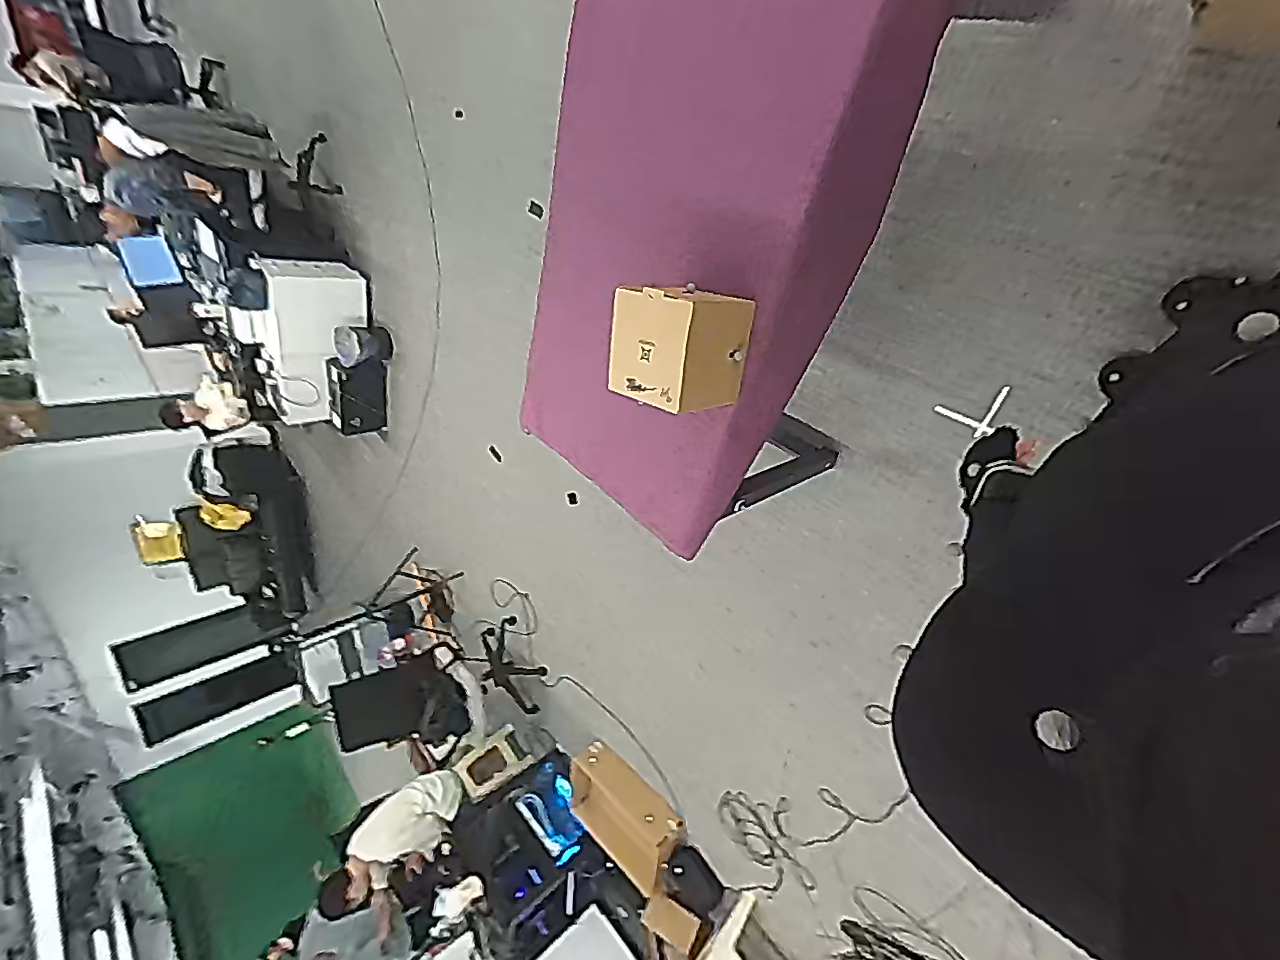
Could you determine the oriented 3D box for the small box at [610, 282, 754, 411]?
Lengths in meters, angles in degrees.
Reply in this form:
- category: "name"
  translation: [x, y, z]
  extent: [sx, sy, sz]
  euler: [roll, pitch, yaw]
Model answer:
- category: "small box"
  translation: [0.073, -0.231, 0.917]
  extent: [0.168, 0.176, 0.179]
  euler: [27, 120, 39]
